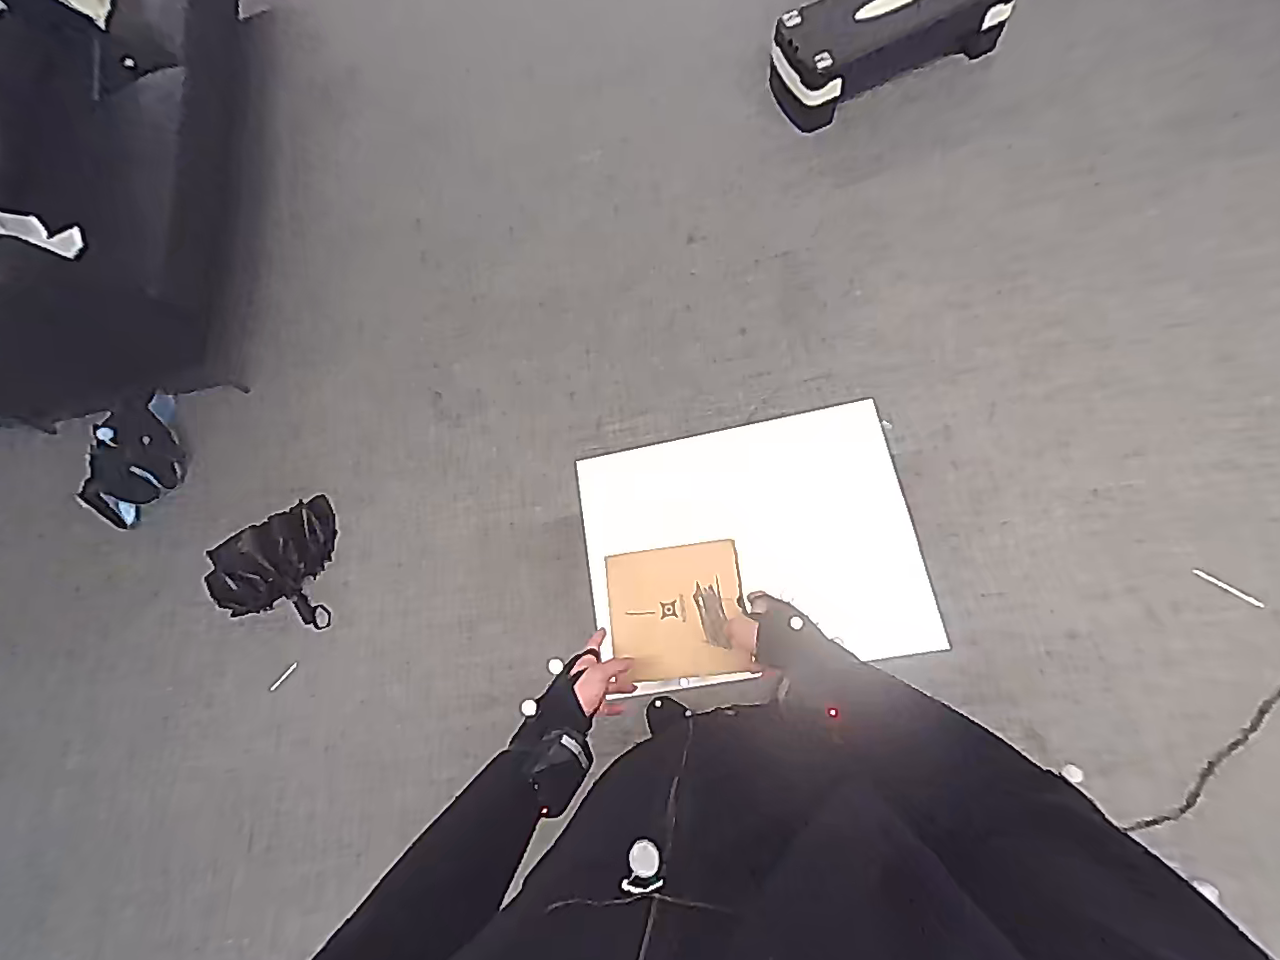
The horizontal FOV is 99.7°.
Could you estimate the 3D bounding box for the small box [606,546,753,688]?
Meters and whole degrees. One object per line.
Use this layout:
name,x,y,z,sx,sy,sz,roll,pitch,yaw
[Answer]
small box,0.061,0.194,0.763,0.179,0.176,0.168,-9,72,10
